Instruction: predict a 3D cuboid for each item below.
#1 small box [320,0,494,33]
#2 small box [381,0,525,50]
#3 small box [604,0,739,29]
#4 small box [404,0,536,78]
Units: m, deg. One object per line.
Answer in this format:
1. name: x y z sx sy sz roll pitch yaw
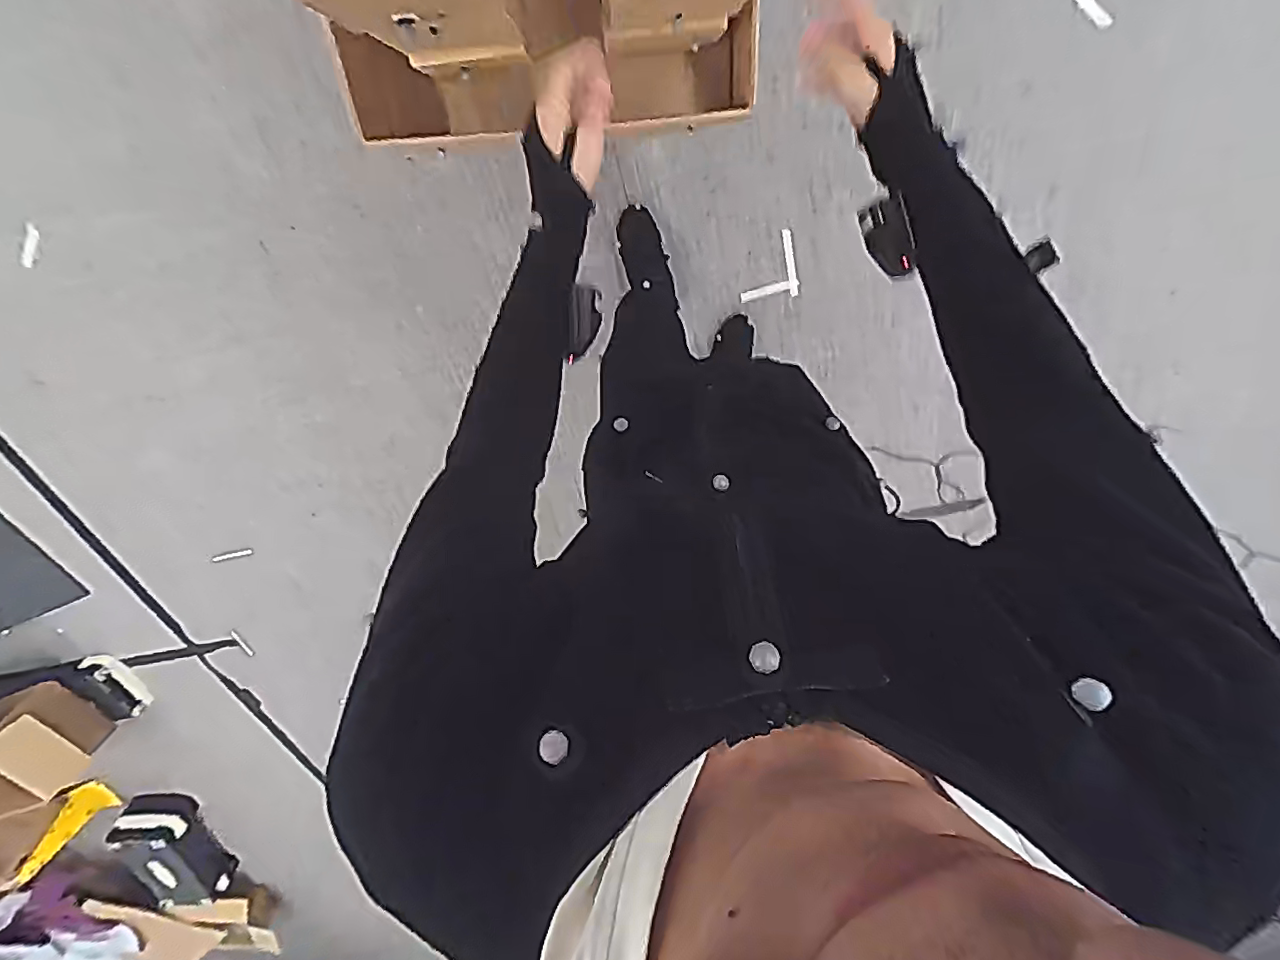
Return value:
1. small box: -0.247 -0.548 0.494 0.168 0.176 0.179 -6 119 3
2. small box: -0.246 -0.629 0.636 0.179 0.176 0.168 -5 119 0
3. small box: 0.038 -0.653 0.626 0.179 0.176 0.168 -7 119 1
4. small box: -0.255 -0.703 0.783 0.168 0.176 0.179 -6 119 1
